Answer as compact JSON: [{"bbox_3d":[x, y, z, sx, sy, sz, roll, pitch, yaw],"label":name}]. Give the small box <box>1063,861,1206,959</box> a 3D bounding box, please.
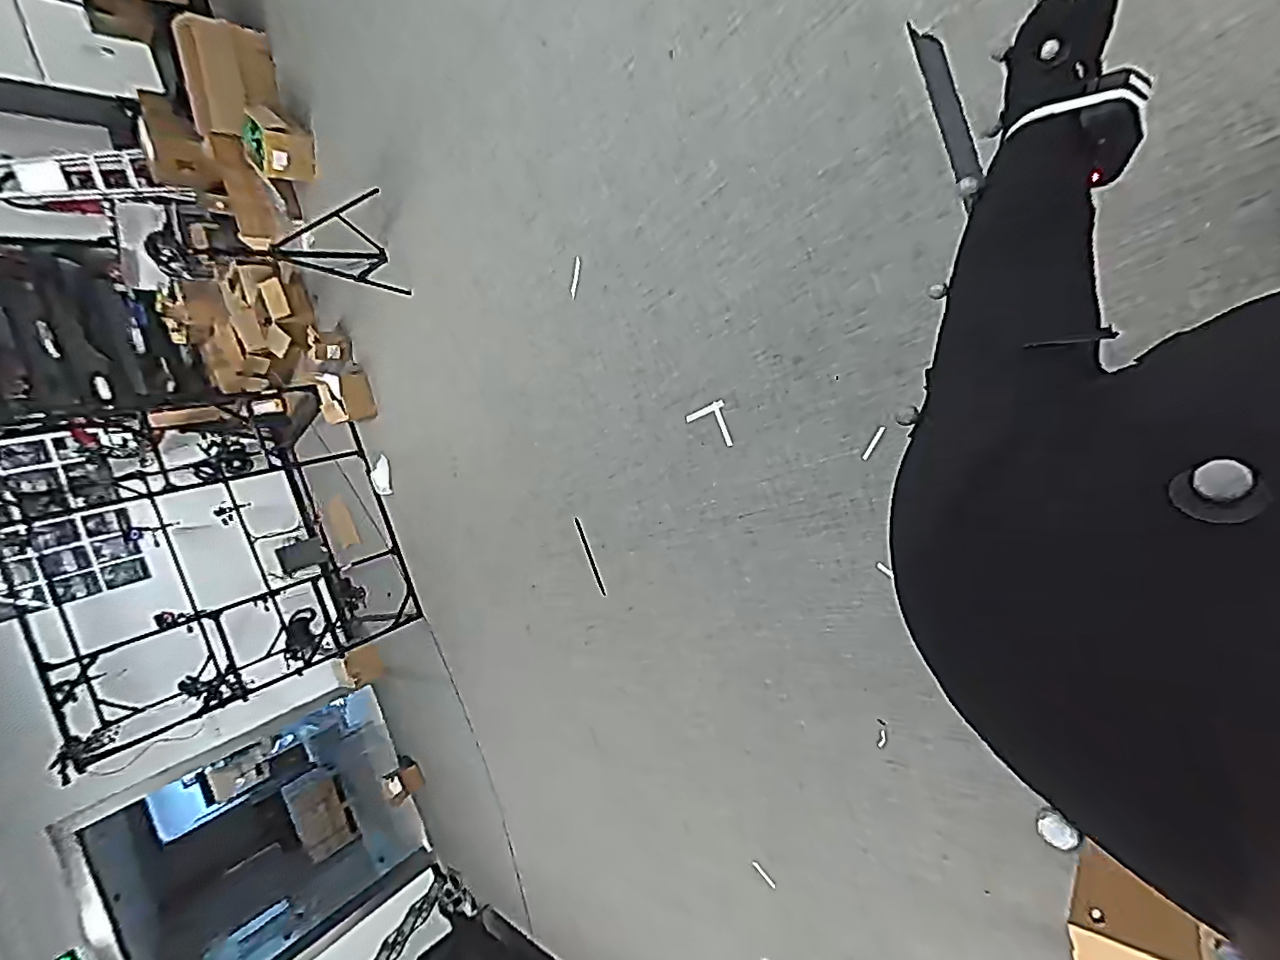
[{"bbox_3d":[0.895,0.841,0.974,0.179,0.176,0.168,-8,99,48],"label":"small box"}]
